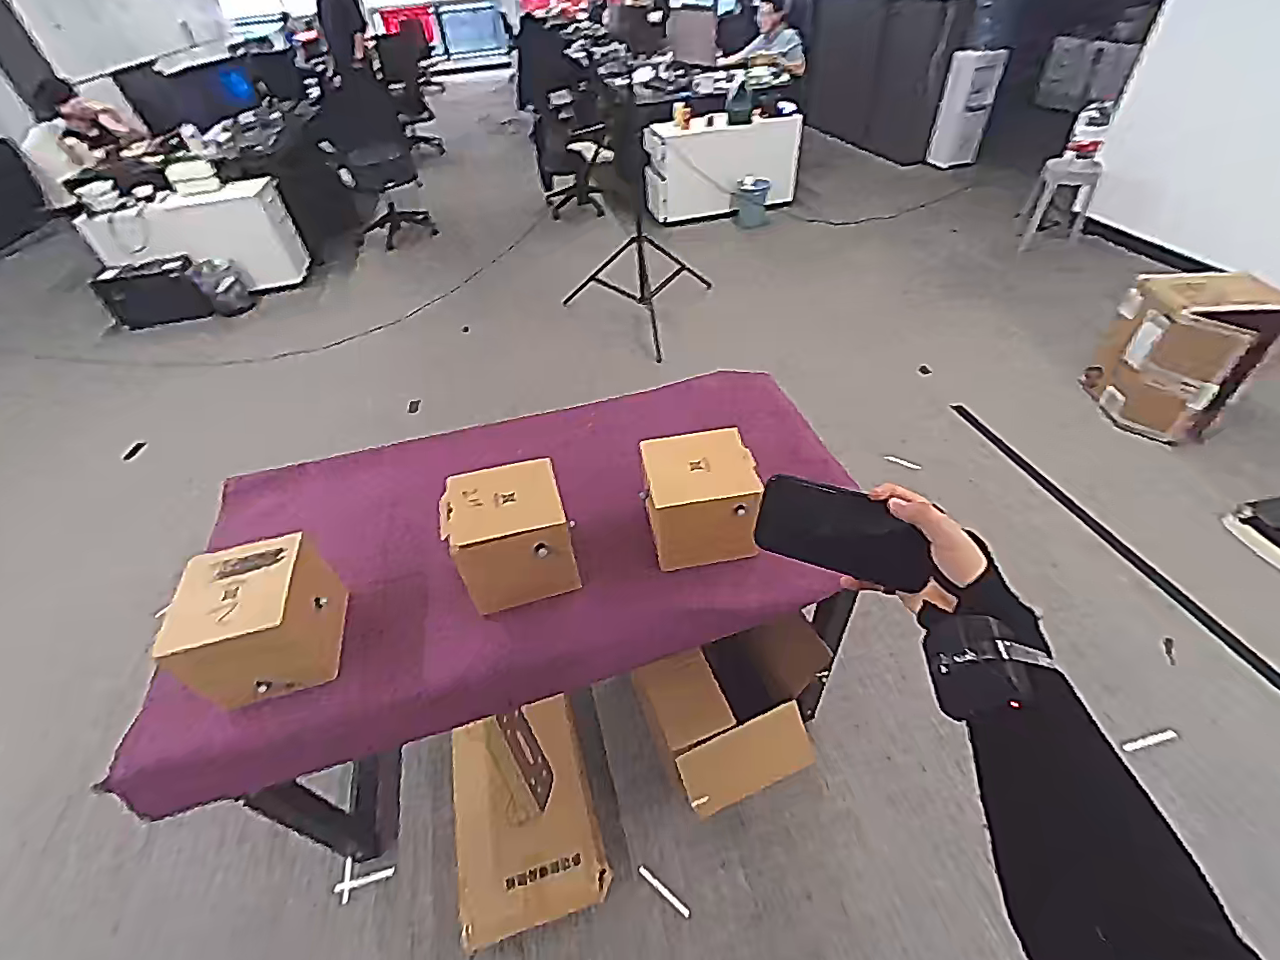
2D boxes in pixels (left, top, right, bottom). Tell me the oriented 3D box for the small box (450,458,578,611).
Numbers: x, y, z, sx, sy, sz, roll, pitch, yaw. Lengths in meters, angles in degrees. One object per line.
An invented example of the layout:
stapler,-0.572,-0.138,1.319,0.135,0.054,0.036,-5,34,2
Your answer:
small box,-0.208,0.092,0.914,0.179,0.176,0.168,-14,42,-9

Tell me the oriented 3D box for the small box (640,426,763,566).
small box,0.103,0.032,0.947,0.179,0.176,0.168,-9,44,-4
